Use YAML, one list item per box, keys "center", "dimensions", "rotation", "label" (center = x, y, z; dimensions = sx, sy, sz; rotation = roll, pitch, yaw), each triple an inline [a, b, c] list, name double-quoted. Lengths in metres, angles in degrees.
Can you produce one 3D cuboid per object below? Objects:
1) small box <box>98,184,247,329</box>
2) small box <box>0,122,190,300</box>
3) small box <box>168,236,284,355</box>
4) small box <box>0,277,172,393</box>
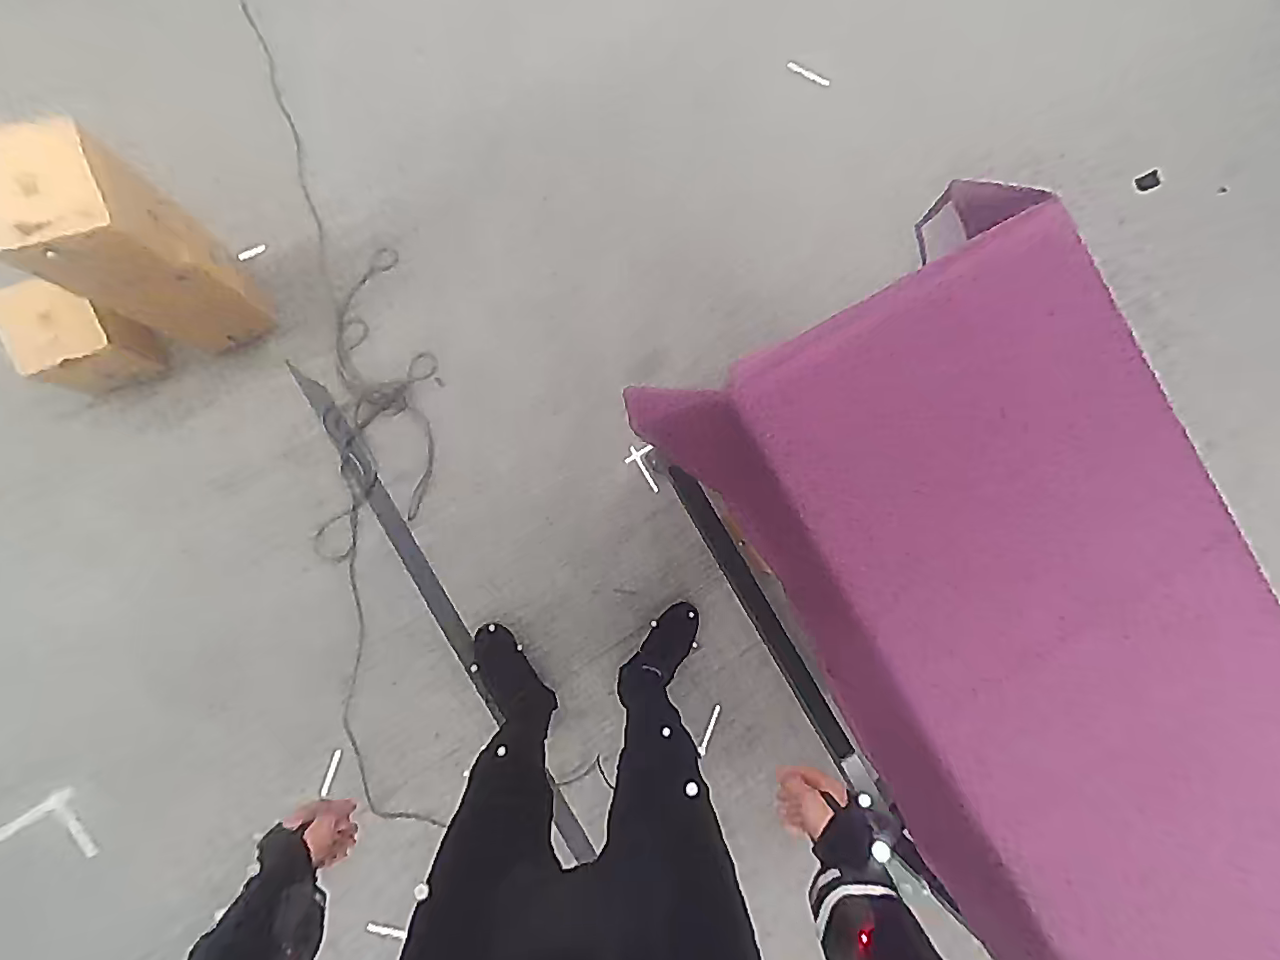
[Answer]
- center: [-0.909, -0.413, 1.029]
  dimensions: [0.179, 0.176, 0.168]
  rotation: [-28, 91, -10]
  label: "small box"
- center: [-0.883, -0.420, 0.867]
  dimensions: [0.168, 0.176, 0.179]
  rotation: [-20, 89, -10]
  label: "small box"
- center: [-0.937, -0.403, 1.189]
  dimensions: [0.168, 0.176, 0.179]
  rotation: [-29, 92, -10]
  label: "small box"
- center: [-1.158, -0.305, 1.142]
  dimensions: [0.168, 0.176, 0.179]
  rotation: [-24, 91, -10]
  label: "small box"
